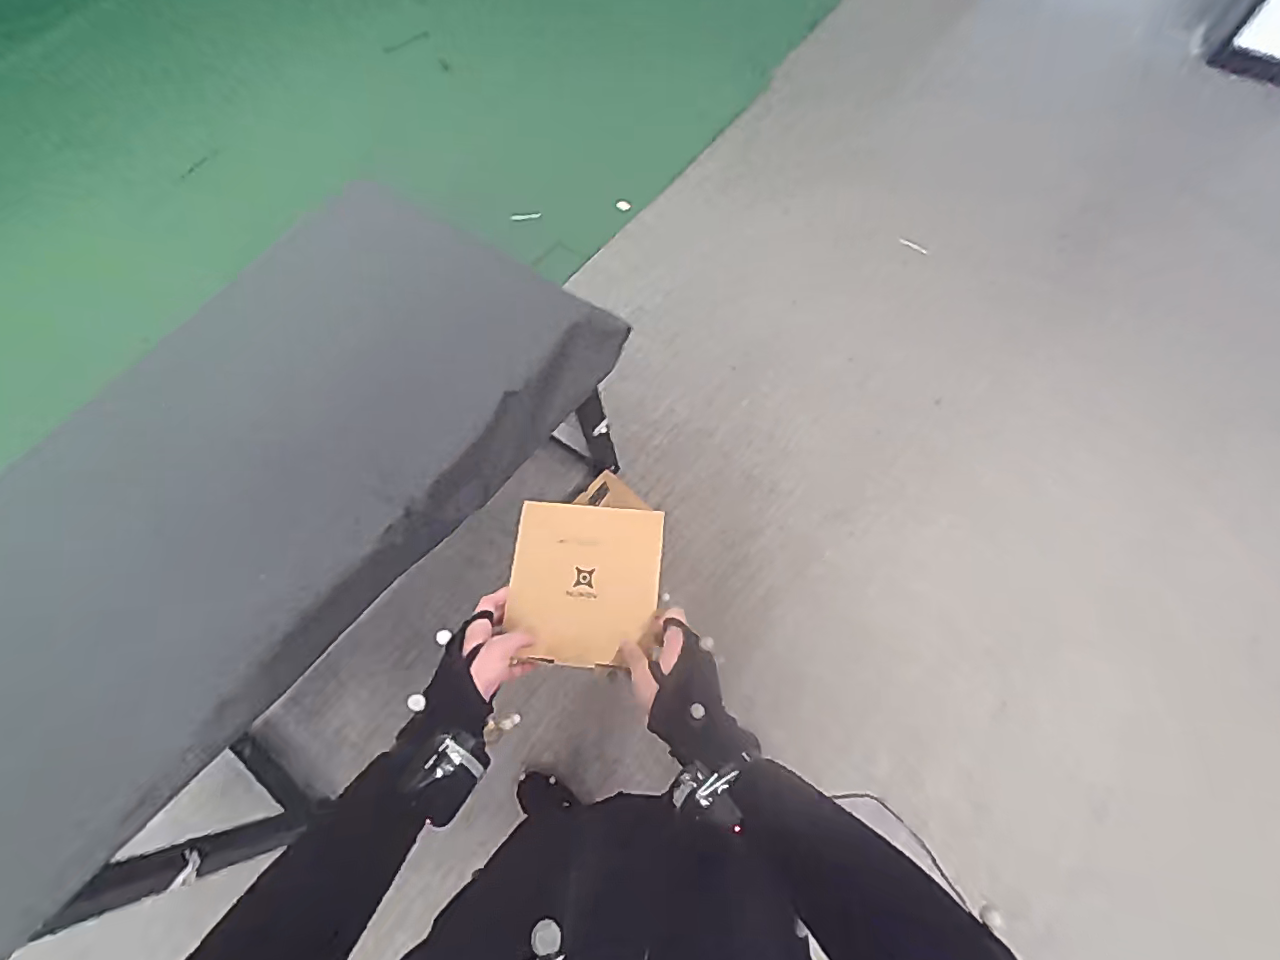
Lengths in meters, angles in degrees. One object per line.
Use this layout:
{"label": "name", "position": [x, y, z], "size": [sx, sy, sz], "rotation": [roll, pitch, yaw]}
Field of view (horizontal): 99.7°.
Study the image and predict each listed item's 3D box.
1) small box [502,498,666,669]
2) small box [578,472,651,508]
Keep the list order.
{"label": "small box", "position": [-0.056, 0.135, 0.669], "size": [0.168, 0.176, 0.179], "rotation": [4, 70, 3]}
{"label": "small box", "position": [-0.070, 0.115, 1.480], "size": [0.179, 0.176, 0.168], "rotation": [41, 76, 18]}
